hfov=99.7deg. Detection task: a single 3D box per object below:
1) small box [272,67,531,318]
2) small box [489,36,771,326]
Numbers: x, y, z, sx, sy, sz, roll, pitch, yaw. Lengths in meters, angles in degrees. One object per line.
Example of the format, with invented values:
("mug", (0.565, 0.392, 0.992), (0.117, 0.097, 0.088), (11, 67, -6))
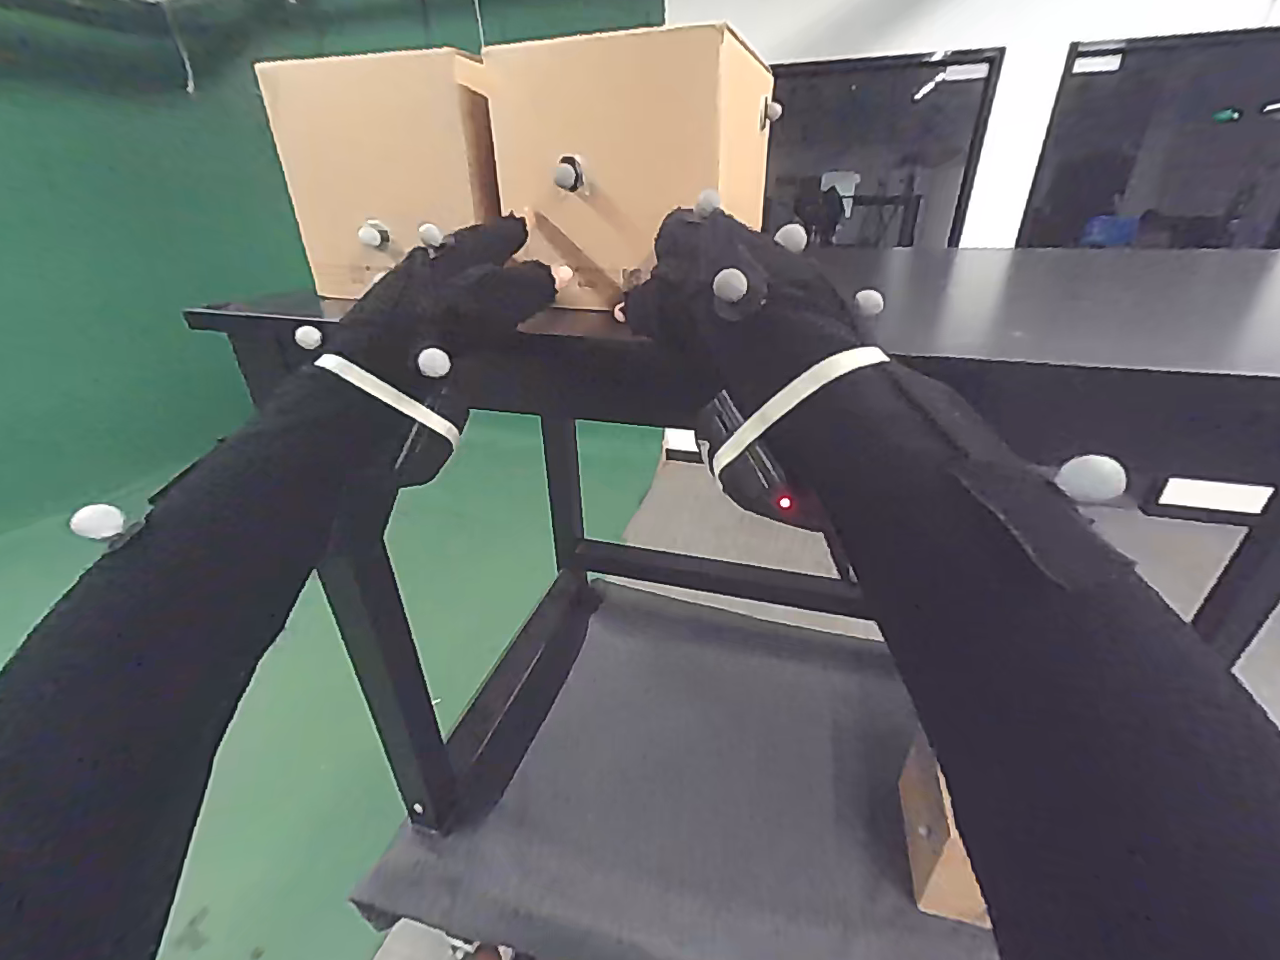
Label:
("small box", (-0.176, -0.254, 0.491), (0.168, 0.176, 0.179), (7, 30, 14))
("small box", (0.006, -0.228, 0.441), (0.168, 0.176, 0.179), (9, 29, 19))
